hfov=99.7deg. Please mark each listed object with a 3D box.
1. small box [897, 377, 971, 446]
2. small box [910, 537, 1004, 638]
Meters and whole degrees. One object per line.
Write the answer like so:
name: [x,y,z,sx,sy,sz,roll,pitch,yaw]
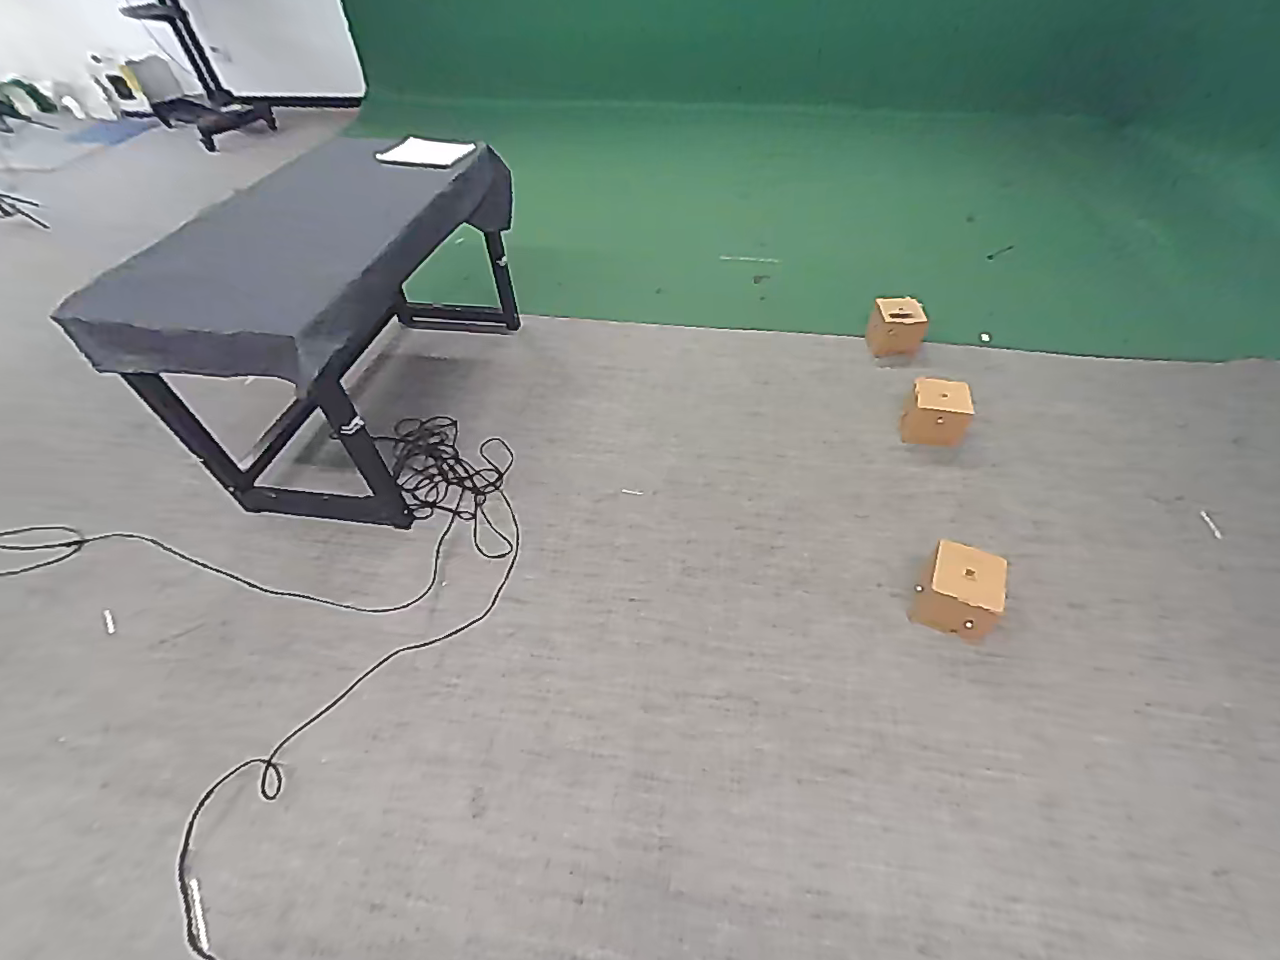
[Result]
small box: [1.025,-0.237,1.895,0.179,0.176,0.168,8,49,11]
small box: [0.838,0.289,1.439,0.168,0.176,0.179,20,51,17]
